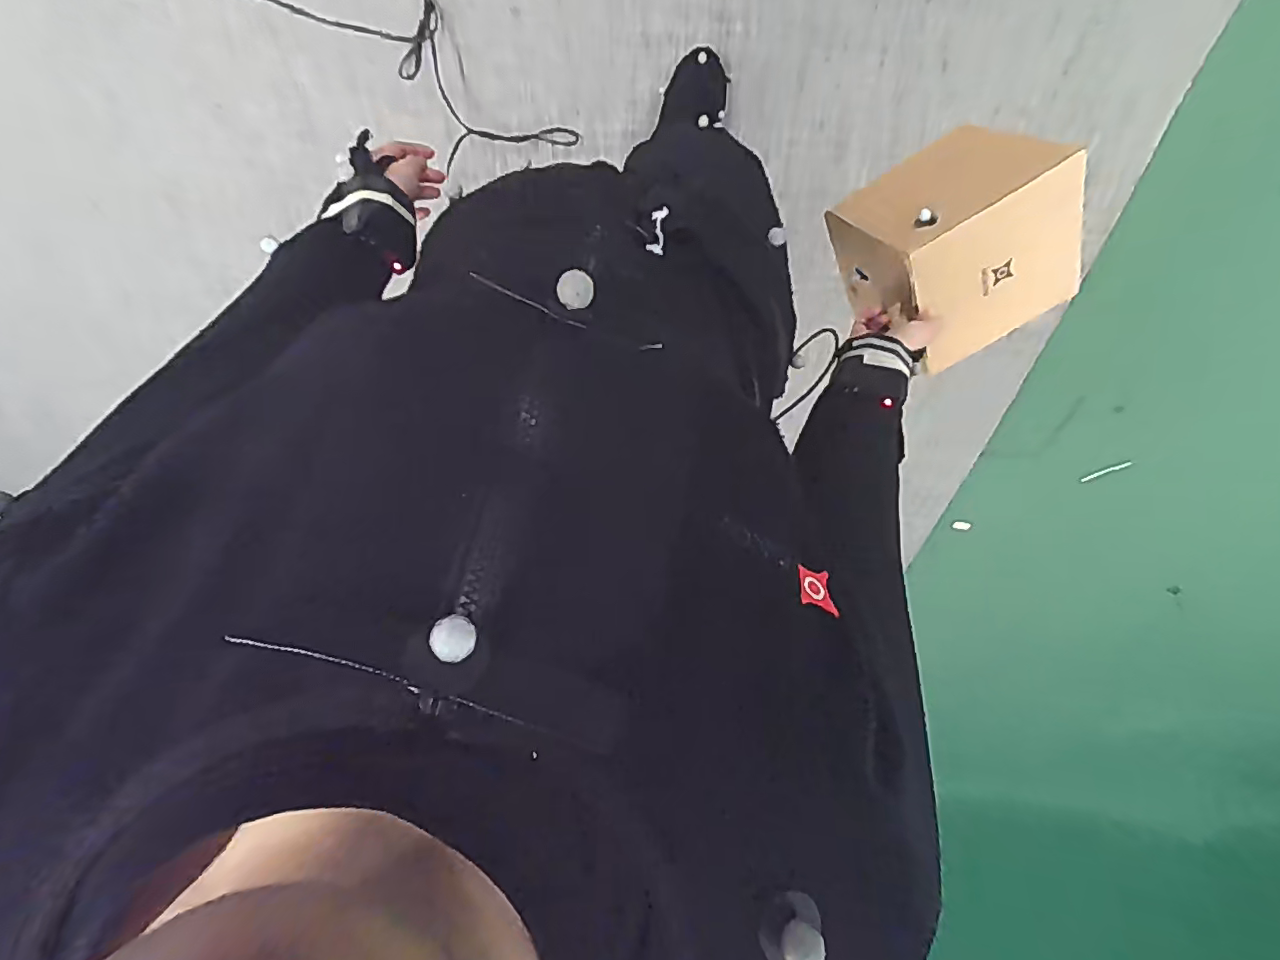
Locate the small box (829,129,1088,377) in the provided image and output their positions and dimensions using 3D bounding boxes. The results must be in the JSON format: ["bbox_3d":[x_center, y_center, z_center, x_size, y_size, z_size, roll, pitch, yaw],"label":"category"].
[{"bbox_3d":[0.346,-0.258,0.608,0.179,0.176,0.168,-31,132,10],"label":"small box"}]
